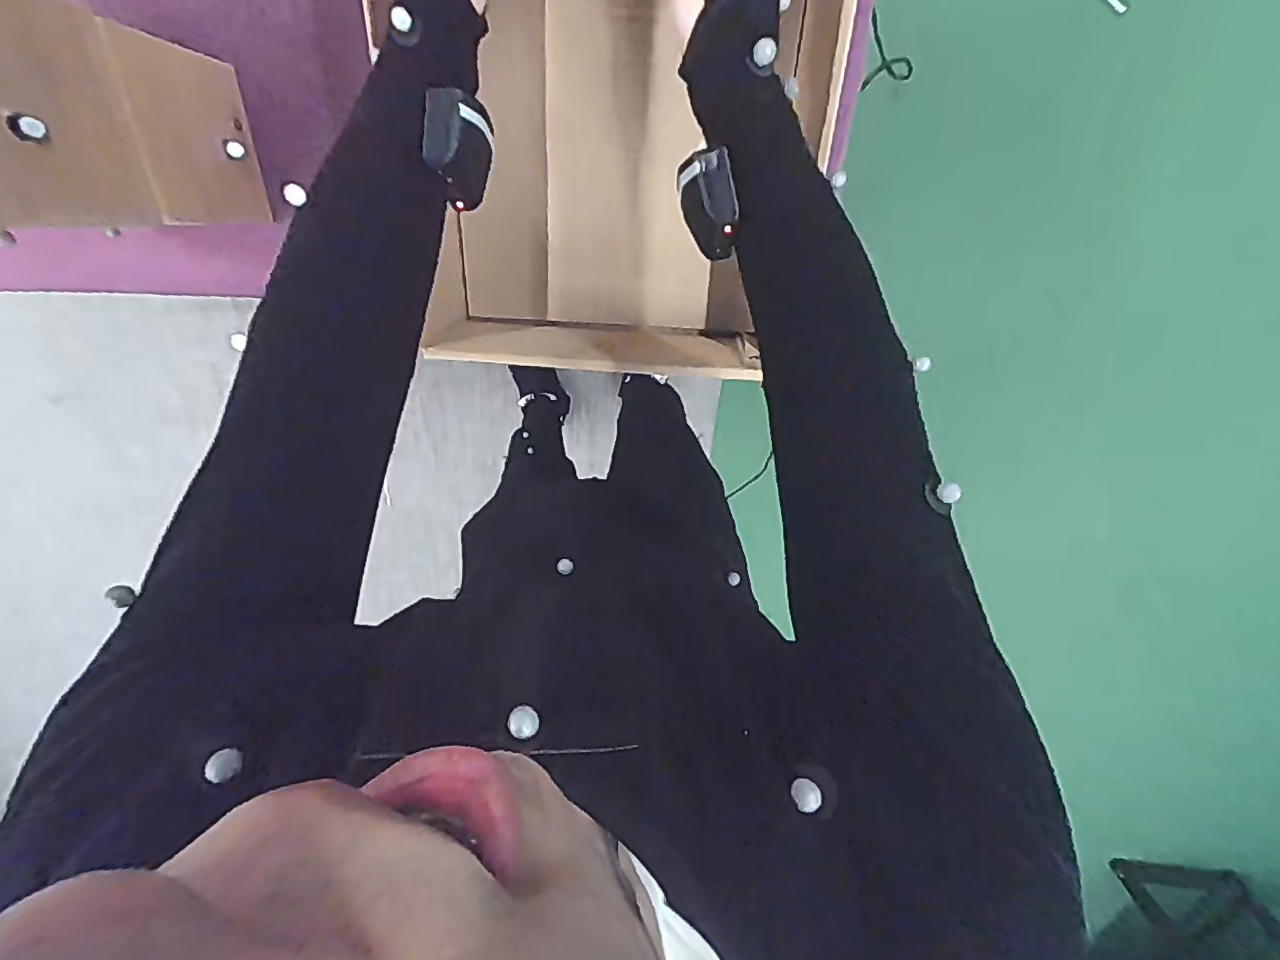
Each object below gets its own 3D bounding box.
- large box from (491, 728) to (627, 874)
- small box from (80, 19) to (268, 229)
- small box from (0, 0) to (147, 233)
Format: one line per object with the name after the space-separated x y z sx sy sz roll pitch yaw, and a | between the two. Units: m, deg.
-0.299 1.248 2.114 0.408 0.320 0.320 -25 114 12 | large box
-0.550 -0.360 0.574 0.179 0.176 0.168 1 116 0 | small box
-0.555 -0.293 0.425 0.168 0.176 0.179 2 116 0 | small box
